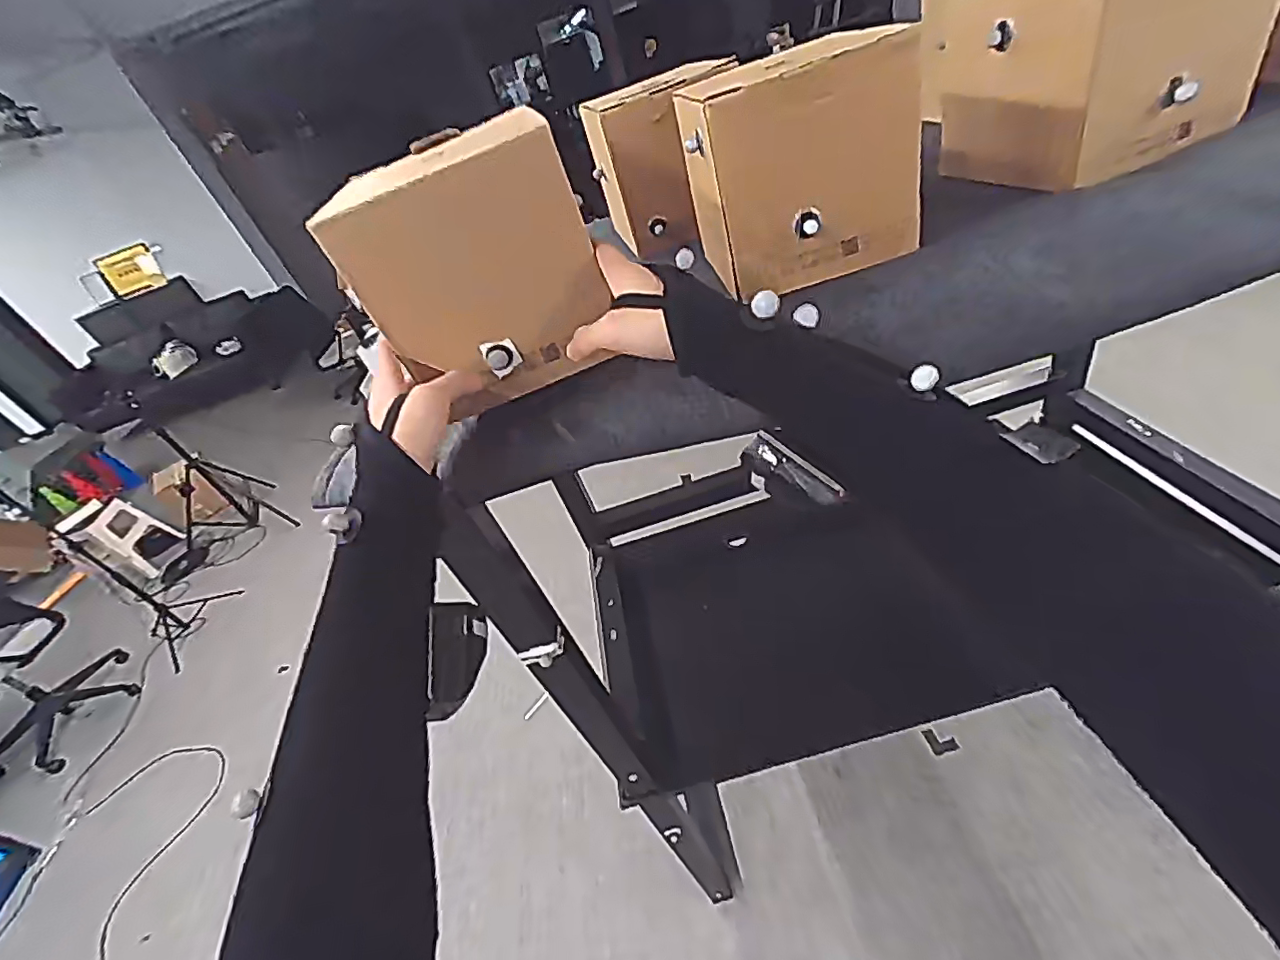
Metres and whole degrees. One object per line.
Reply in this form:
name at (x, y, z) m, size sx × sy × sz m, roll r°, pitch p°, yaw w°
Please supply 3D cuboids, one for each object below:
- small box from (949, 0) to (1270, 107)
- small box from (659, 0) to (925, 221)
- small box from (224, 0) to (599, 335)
small box at (0.394, -0.440, 0.460) m, size 0.168 × 0.176 × 0.179 m, roll -22°, pitch 38°, yaw -1°
small box at (0.122, -0.346, 0.471) m, size 0.168 × 0.176 × 0.179 m, roll -16°, pitch 38°, yaw 5°
small box at (-0.146, -0.235, 0.404) m, size 0.168 × 0.176 × 0.179 m, roll -24°, pitch 40°, yaw 0°
